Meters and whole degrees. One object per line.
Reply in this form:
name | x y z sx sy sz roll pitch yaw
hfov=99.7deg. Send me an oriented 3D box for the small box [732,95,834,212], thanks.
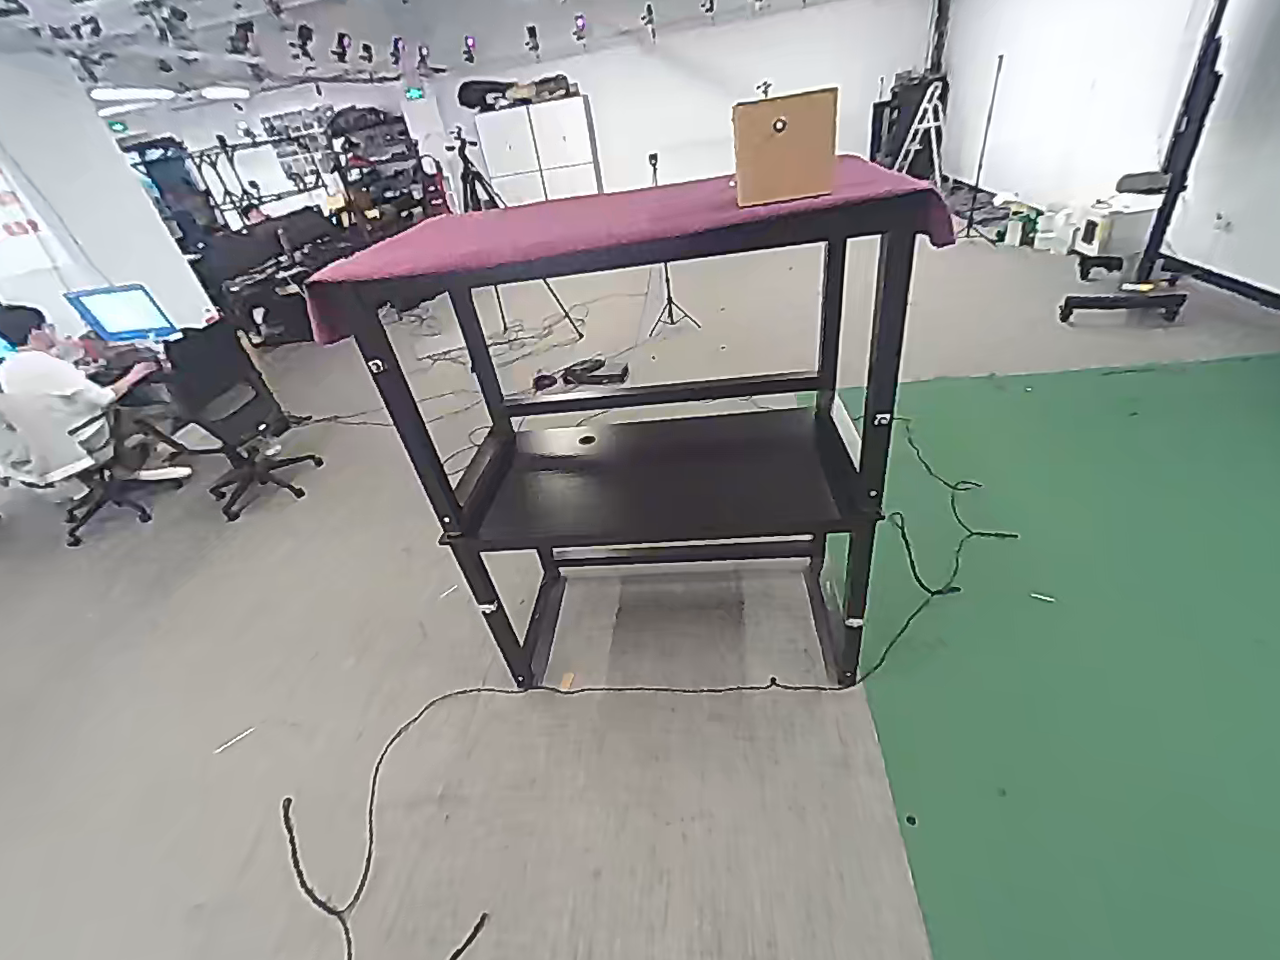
small box | 0.276 -0.638 1.063 0.179 0.176 0.168 -4 34 9
